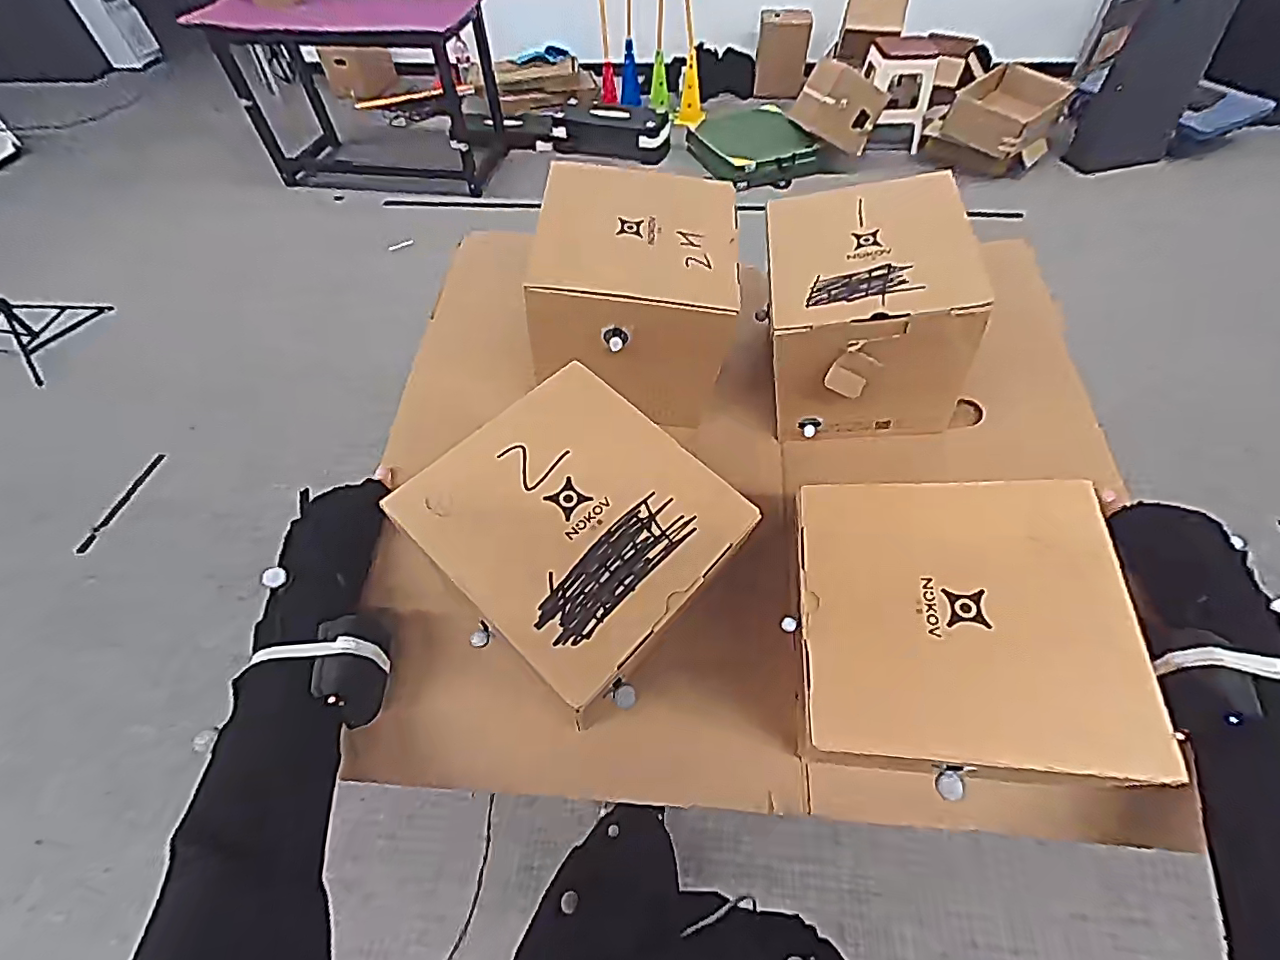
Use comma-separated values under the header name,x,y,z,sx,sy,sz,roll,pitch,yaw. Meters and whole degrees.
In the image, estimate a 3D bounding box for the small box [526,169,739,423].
name,x,y,z,sx,sy,sz,roll,pitch,yaw
small box,-0.006,-0.173,0.541,0.179,0.176,0.168,6,62,-3

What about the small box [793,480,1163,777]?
name,x,y,z,sx,sy,sz,roll,pitch,yaw
small box,0.204,0.111,0.392,0.179,0.176,0.168,-2,61,16
